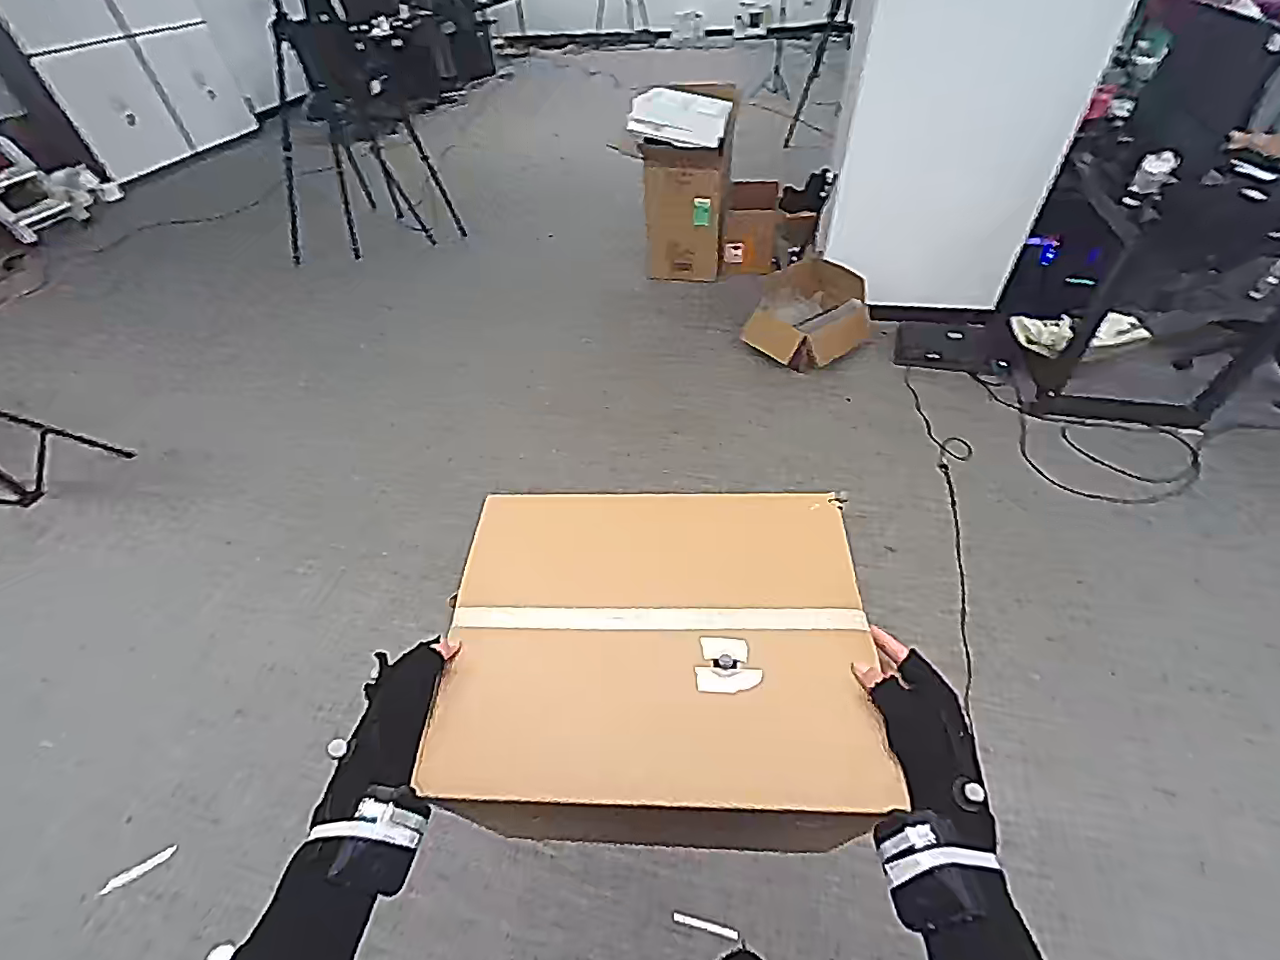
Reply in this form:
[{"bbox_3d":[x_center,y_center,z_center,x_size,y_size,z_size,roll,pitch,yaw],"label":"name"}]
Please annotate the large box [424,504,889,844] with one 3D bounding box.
[{"bbox_3d":[0.018,0.245,0.662,0.408,0.320,0.320,-1,51,3],"label":"large box"}]
